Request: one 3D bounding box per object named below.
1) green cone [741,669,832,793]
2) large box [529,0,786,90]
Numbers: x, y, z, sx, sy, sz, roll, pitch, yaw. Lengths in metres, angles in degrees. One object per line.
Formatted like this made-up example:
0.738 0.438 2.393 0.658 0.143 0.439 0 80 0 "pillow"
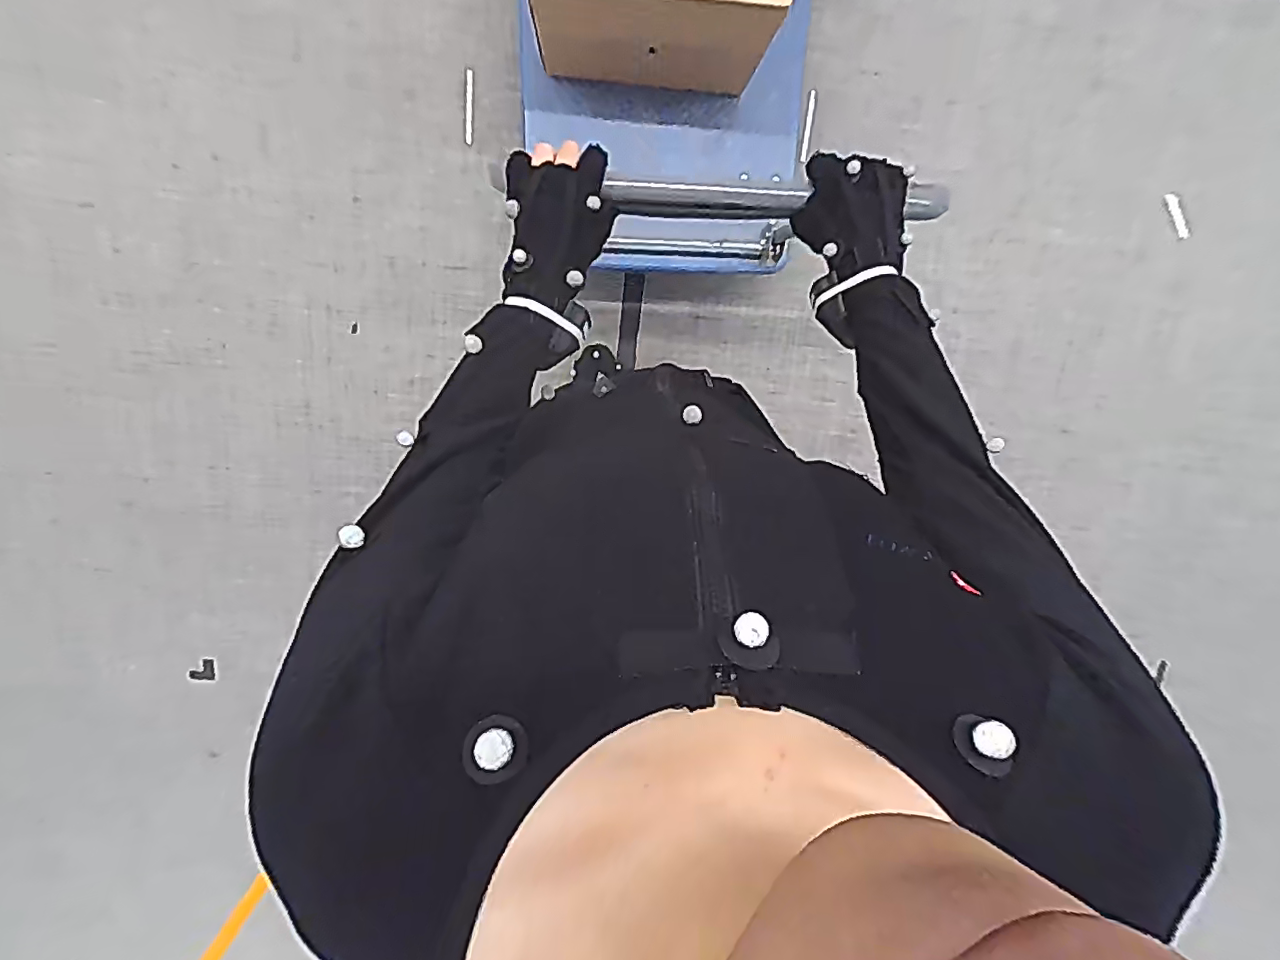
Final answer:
0.440 0.725 1.519 0.202 0.368 0.200 8 104 -7 "green cone"
0.027 -0.914 0.922 0.408 0.320 0.320 2 104 -4 "large box"
